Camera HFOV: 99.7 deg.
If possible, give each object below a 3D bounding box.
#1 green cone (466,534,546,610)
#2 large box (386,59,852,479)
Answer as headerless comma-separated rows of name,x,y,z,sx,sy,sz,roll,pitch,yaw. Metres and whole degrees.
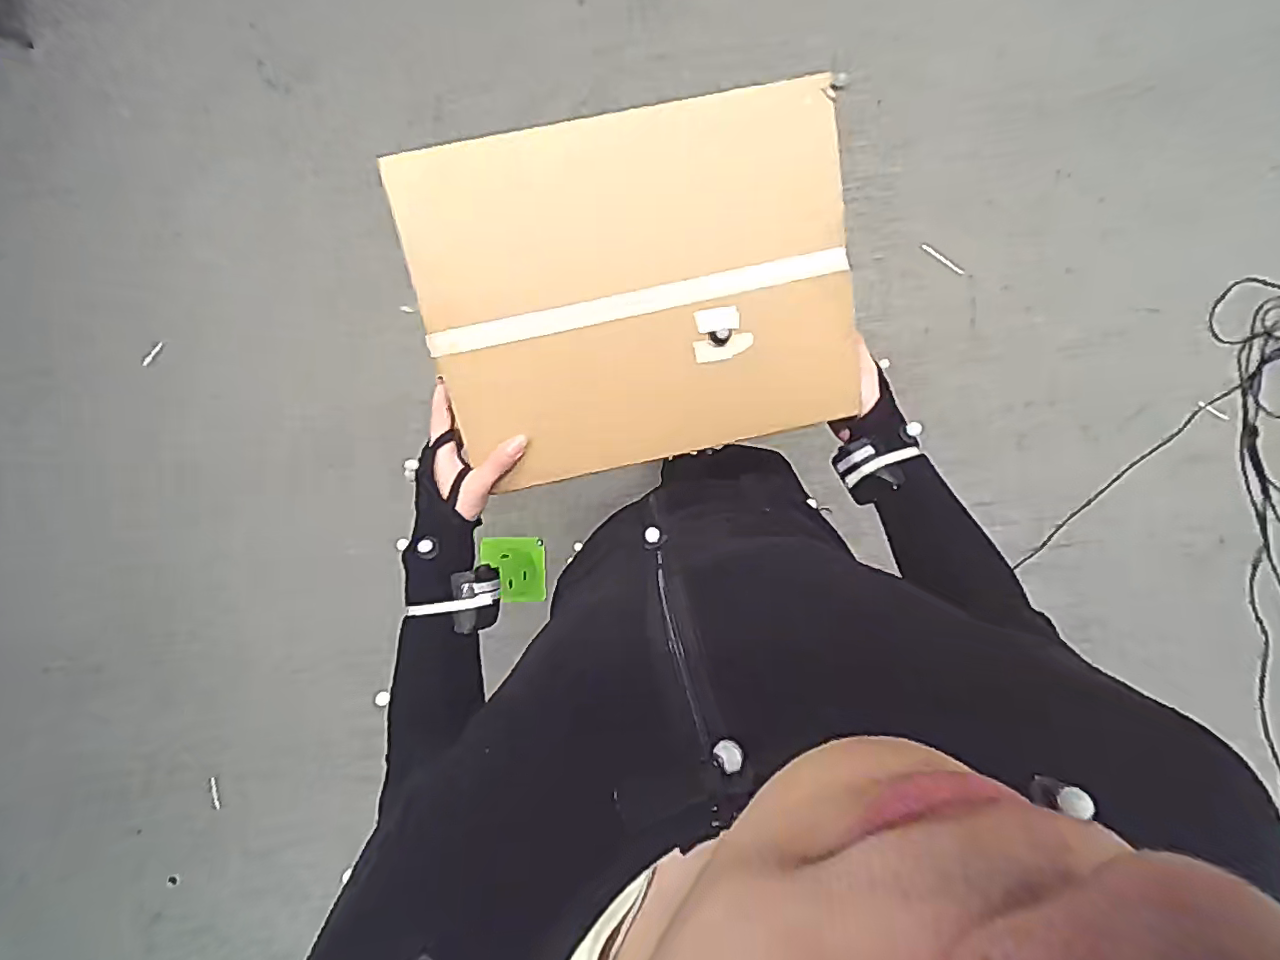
green cone,-0.397,0.277,1.479,0.200,0.368,0.202,-2,94,3
large box,-0.017,-0.228,0.661,0.408,0.320,0.320,-13,108,-3
